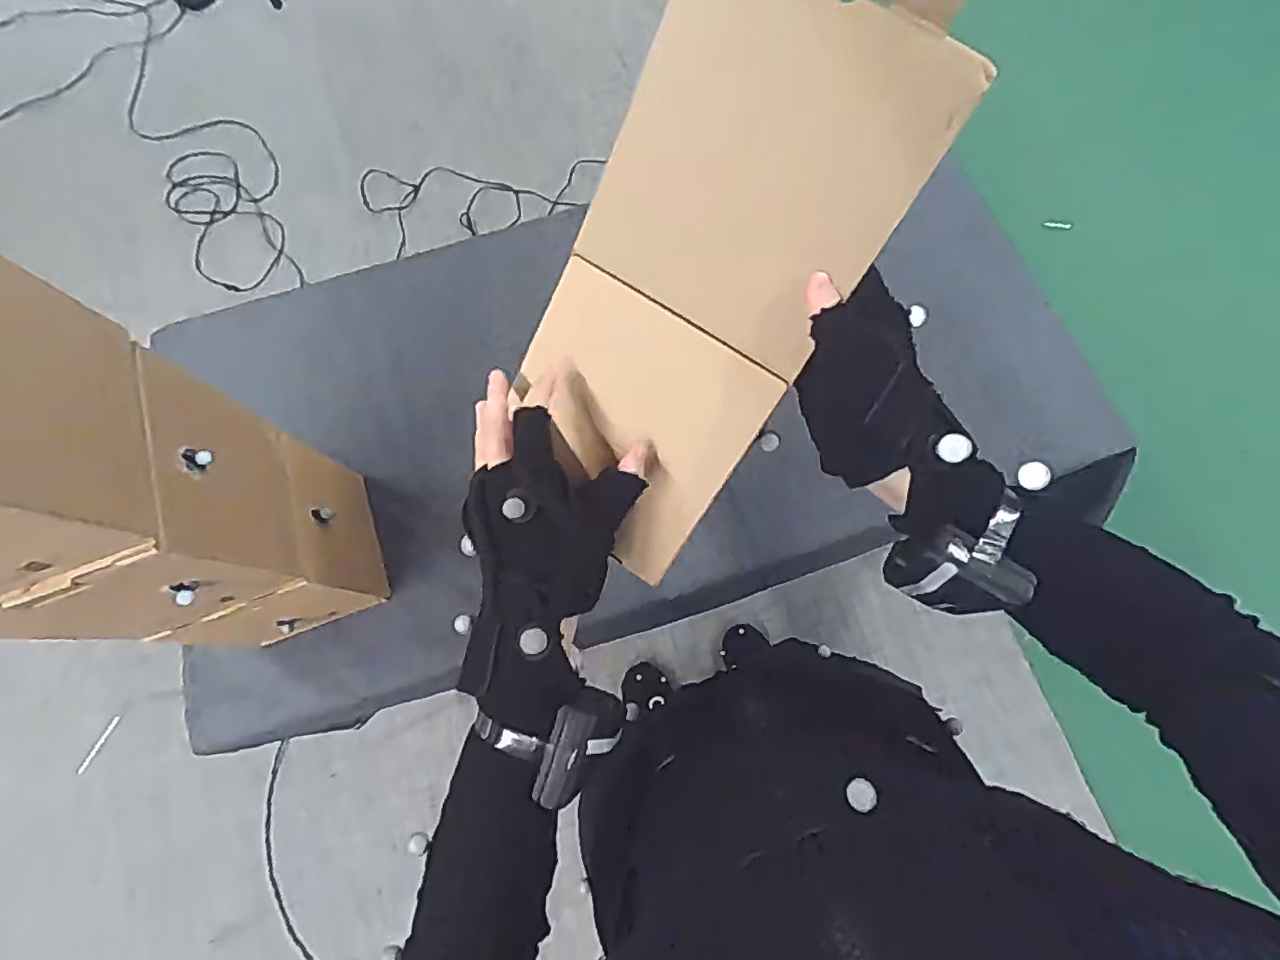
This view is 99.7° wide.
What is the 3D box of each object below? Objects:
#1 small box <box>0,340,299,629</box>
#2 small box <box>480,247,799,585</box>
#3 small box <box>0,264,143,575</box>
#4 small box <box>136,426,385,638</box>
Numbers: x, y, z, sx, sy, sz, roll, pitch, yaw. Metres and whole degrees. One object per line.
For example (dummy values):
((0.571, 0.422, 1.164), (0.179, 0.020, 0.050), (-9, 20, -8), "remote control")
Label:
((-0.425, 0.019, 0.458), (0.168, 0.176, 0.179), (-20, 73, -4), "small box")
((0.009, -0.055, 0.441), (0.168, 0.176, 0.179), (34, 110, 7), "small box")
((-0.434, -0.036, 0.304), (0.168, 0.176, 0.179), (-21, 73, -5), "small box")
((-0.419, 0.069, 0.613), (0.168, 0.176, 0.179), (-20, 74, -4), "small box")
